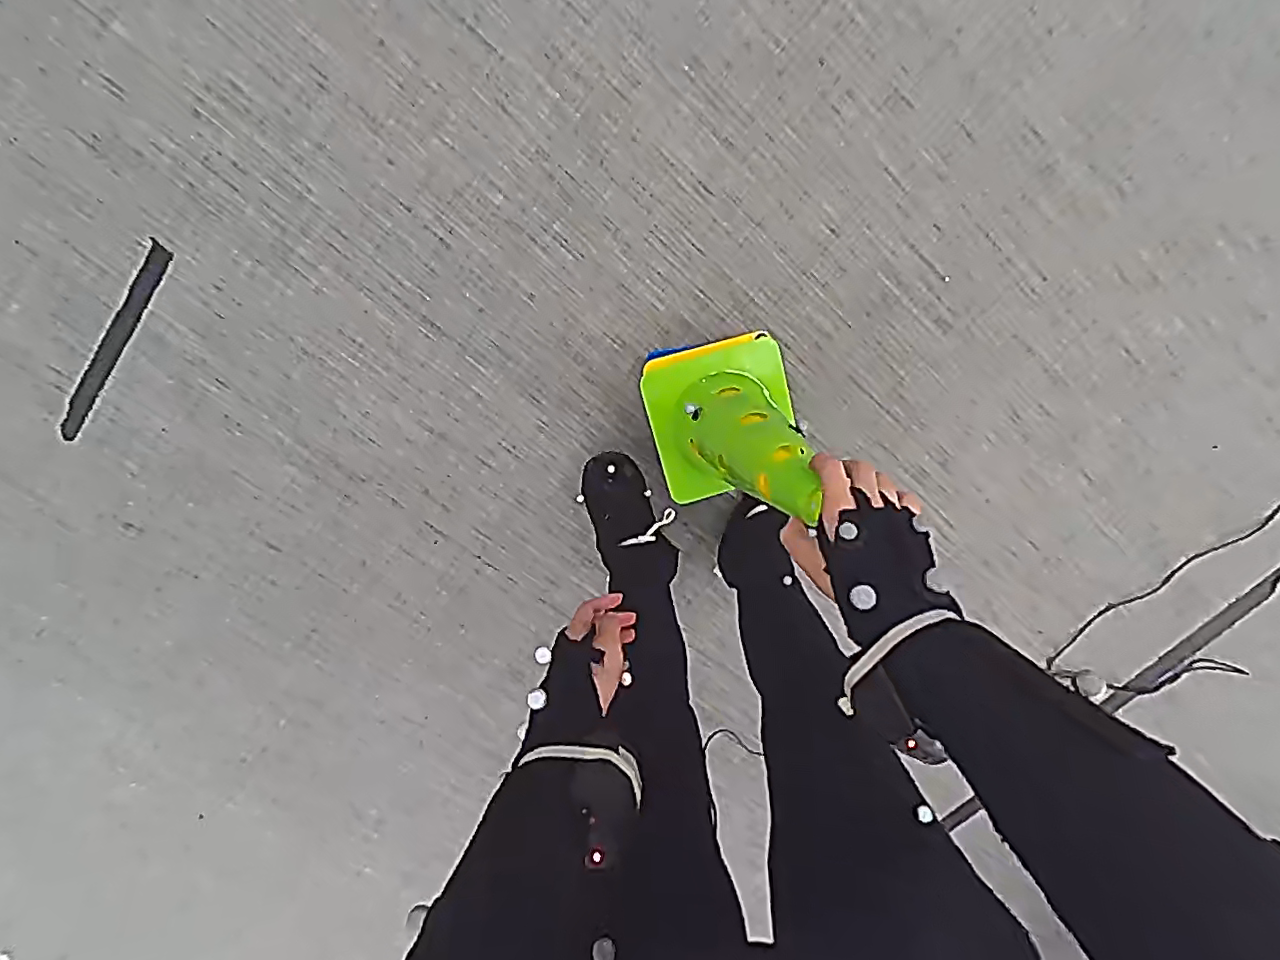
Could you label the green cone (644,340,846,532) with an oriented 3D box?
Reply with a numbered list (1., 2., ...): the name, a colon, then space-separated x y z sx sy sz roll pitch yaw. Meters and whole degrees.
1. green cone: 0.135 -0.031 0.595 0.202 0.368 0.200 -18 106 1
